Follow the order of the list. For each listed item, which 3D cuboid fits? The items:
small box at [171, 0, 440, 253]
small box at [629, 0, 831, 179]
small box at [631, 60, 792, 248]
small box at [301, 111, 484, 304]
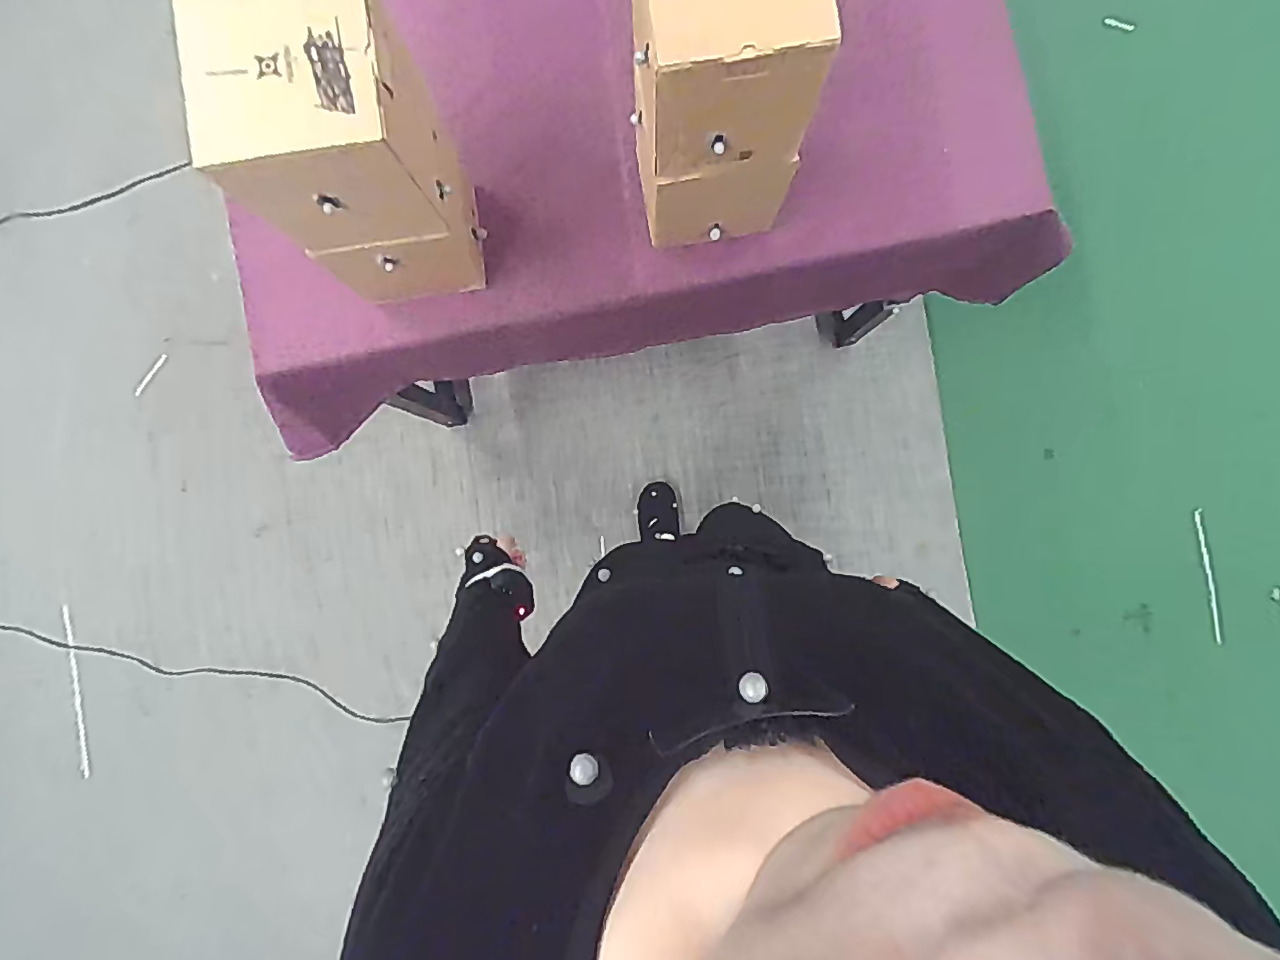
[{"bbox_3d":[-0.325,-0.362,0.565,0.179,0.176,0.168,-9,88,1],"label":"small box"},{"bbox_3d":[0.079,-0.456,0.565,0.168,0.176,0.179,-9,88,1],"label":"small box"},{"bbox_3d":[0.084,-0.438,0.728,0.179,0.176,0.168,-9,87,0],"label":"small box"},{"bbox_3d":[-0.328,-0.352,0.728,0.179,0.176,0.168,-8,88,0],"label":"small box"}]
